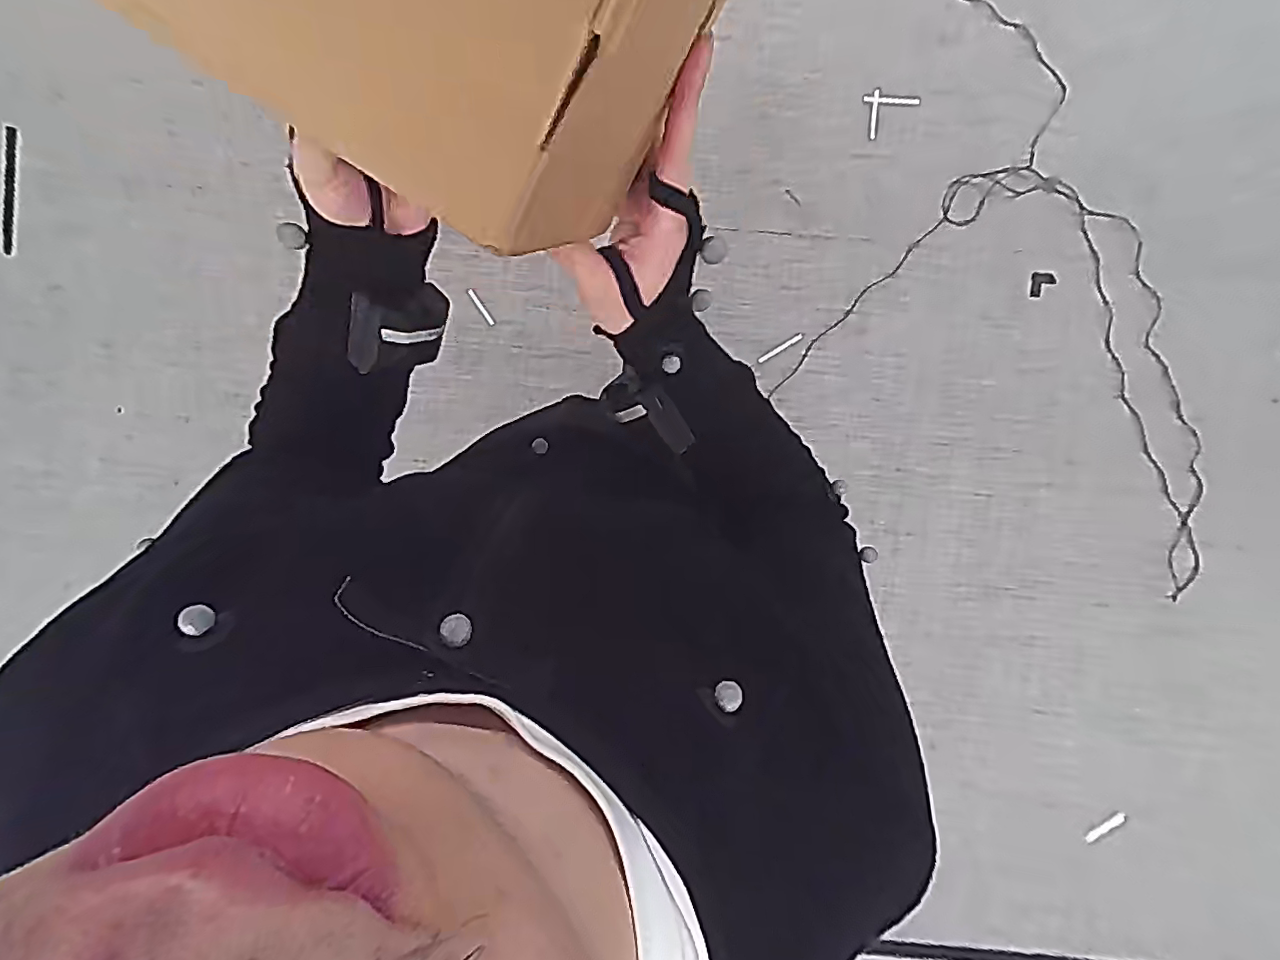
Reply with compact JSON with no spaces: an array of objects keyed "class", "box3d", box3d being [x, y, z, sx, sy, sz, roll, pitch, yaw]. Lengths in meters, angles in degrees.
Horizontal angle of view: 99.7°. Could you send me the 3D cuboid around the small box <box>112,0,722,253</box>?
[{"class":"small box","box3d":[-0.059,-0.209,0.193,0.179,0.176,0.168,30,116,-7]}]
